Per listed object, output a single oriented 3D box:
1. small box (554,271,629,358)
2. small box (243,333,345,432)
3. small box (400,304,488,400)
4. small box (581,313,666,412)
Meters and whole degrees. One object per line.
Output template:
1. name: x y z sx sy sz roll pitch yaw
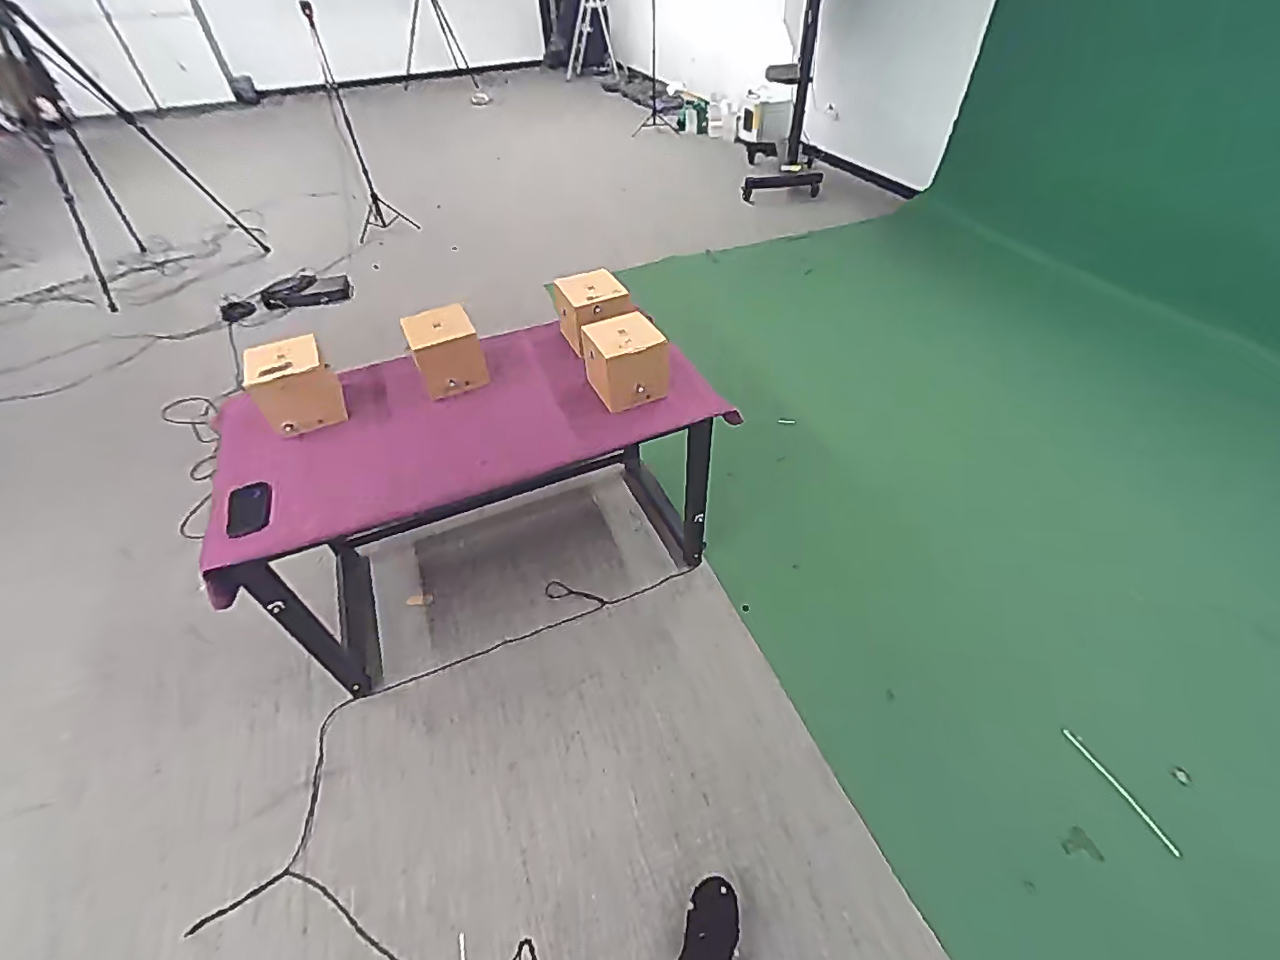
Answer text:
1. small box: -0.140 -0.484 1.585 0.168 0.176 0.179 -20 48 -16
2. small box: -0.871 -0.240 1.369 0.168 0.176 0.179 -21 48 -18
3. small box: -0.529 -0.346 1.465 0.168 0.176 0.179 -21 50 -17
4. small box: -0.041 -0.303 1.402 0.168 0.176 0.179 -20 47 -15
